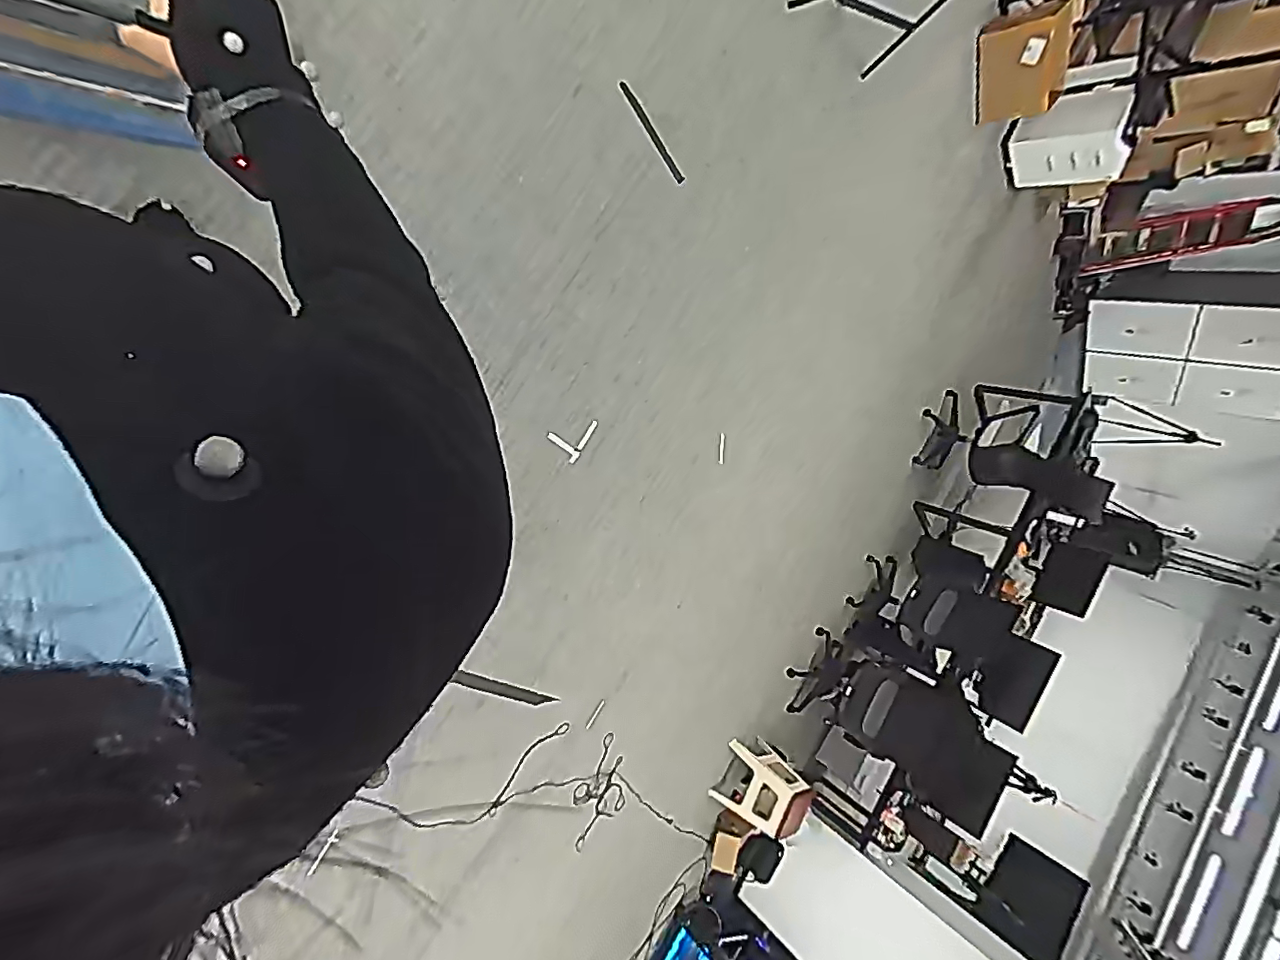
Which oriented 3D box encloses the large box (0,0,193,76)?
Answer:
[{"bbox_3d":[-0.816,-0.742,0.624,0.408,0.320,0.320,-12,115,-42],"label":"large box"}]
